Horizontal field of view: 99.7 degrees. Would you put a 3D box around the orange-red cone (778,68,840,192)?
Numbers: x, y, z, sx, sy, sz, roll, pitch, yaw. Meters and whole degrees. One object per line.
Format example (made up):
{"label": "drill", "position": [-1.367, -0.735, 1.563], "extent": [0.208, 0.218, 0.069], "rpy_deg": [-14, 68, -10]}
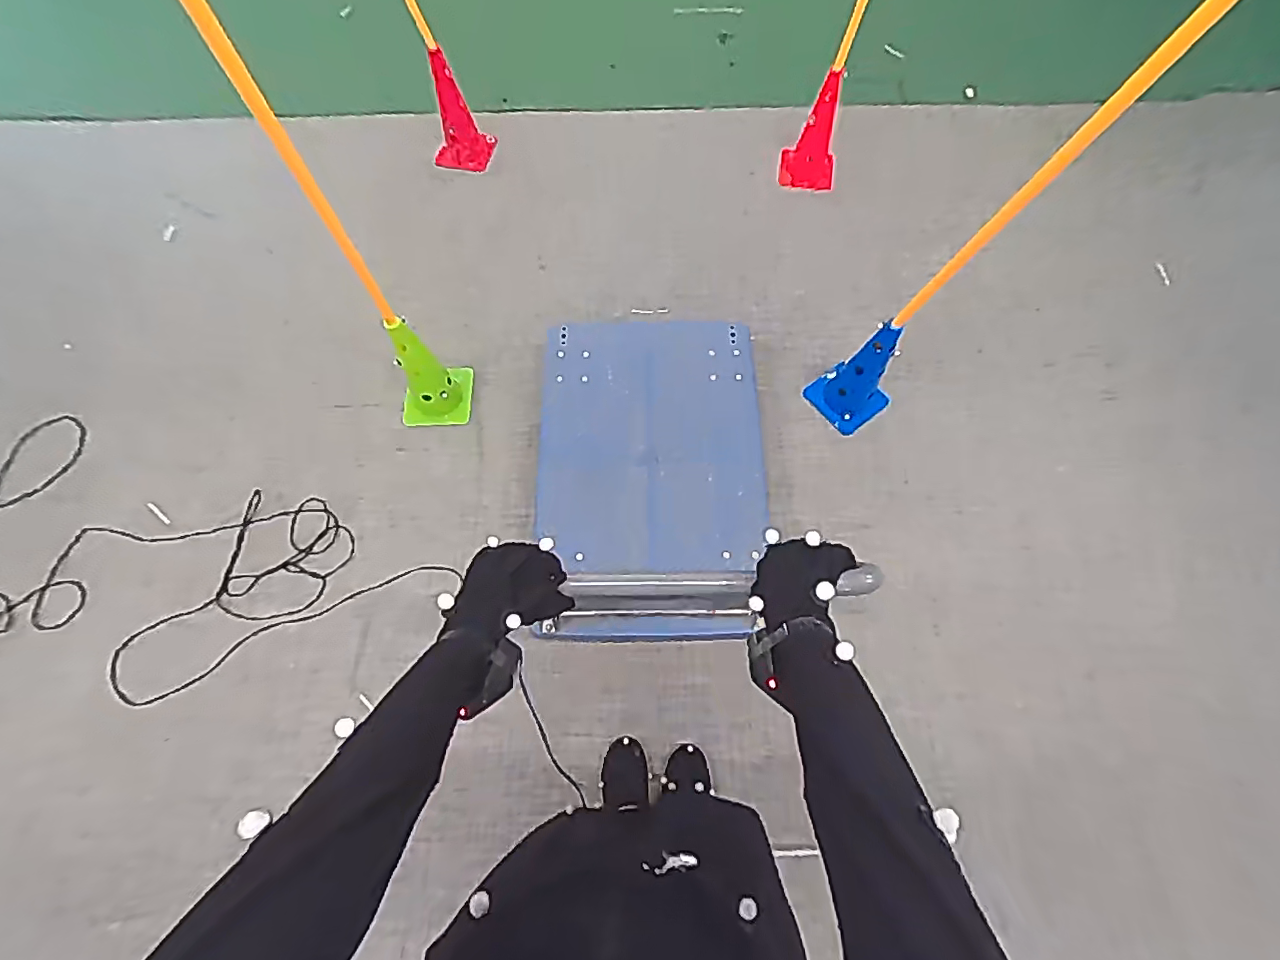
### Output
{"label": "orange-red cone", "position": [0.619, -1.217, 1.864], "extent": [0.198, 0.360, 0.199], "rpy_deg": [9, 69, 5]}
